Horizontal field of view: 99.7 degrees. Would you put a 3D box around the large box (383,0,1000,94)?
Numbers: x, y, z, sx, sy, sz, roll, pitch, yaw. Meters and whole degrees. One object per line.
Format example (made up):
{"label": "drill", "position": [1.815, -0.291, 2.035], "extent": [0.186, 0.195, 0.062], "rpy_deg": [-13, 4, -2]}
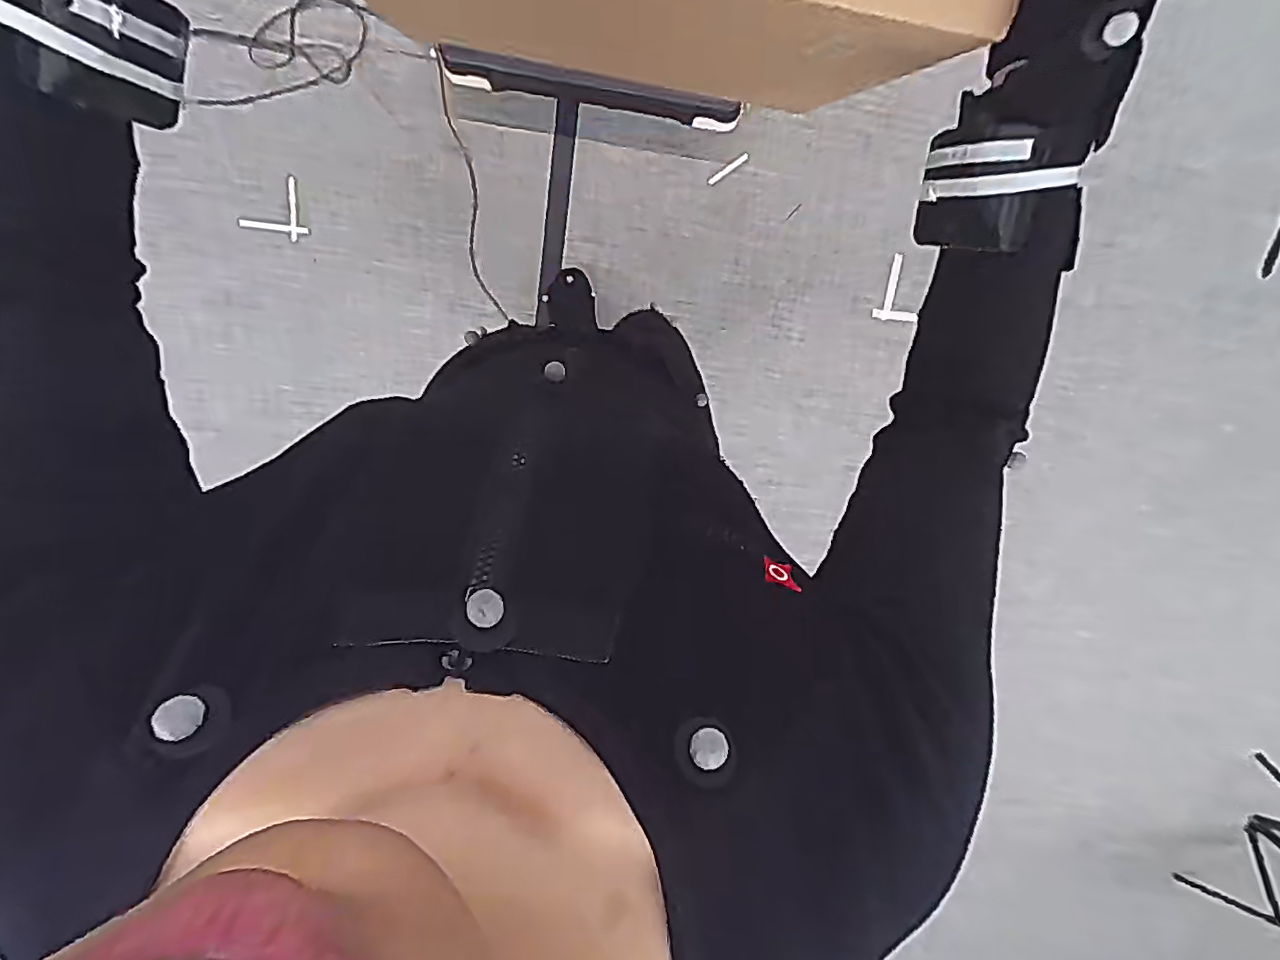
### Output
{"label": "large box", "position": [0.007, -0.473, 0.331], "extent": [0.408, 0.320, 0.320], "rpy_deg": [5, 119, -8]}
